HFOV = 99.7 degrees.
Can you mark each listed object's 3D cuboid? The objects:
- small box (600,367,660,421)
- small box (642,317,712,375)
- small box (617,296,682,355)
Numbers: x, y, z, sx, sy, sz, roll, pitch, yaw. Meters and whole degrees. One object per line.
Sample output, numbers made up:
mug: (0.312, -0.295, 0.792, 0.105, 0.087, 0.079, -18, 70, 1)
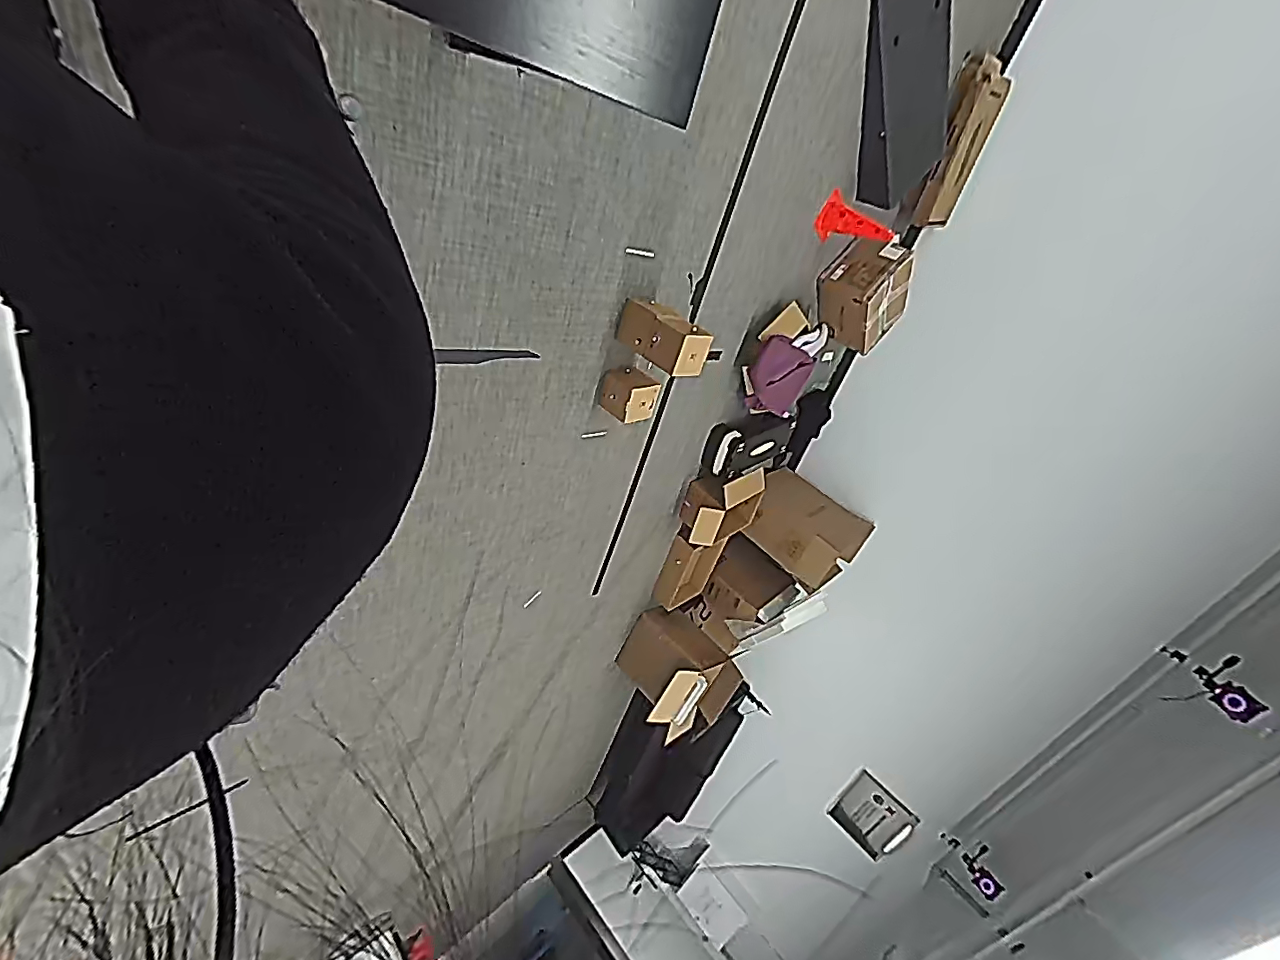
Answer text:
small box: (-0.049, -0.374, 2.318, 0.179, 0.176, 0.168, -17, 136, -42)
small box: (0.141, -0.520, 2.085, 0.179, 0.176, 0.168, -14, 132, -44)
small box: (0.031, -0.614, 2.160, 0.168, 0.176, 0.179, -14, 133, -46)
